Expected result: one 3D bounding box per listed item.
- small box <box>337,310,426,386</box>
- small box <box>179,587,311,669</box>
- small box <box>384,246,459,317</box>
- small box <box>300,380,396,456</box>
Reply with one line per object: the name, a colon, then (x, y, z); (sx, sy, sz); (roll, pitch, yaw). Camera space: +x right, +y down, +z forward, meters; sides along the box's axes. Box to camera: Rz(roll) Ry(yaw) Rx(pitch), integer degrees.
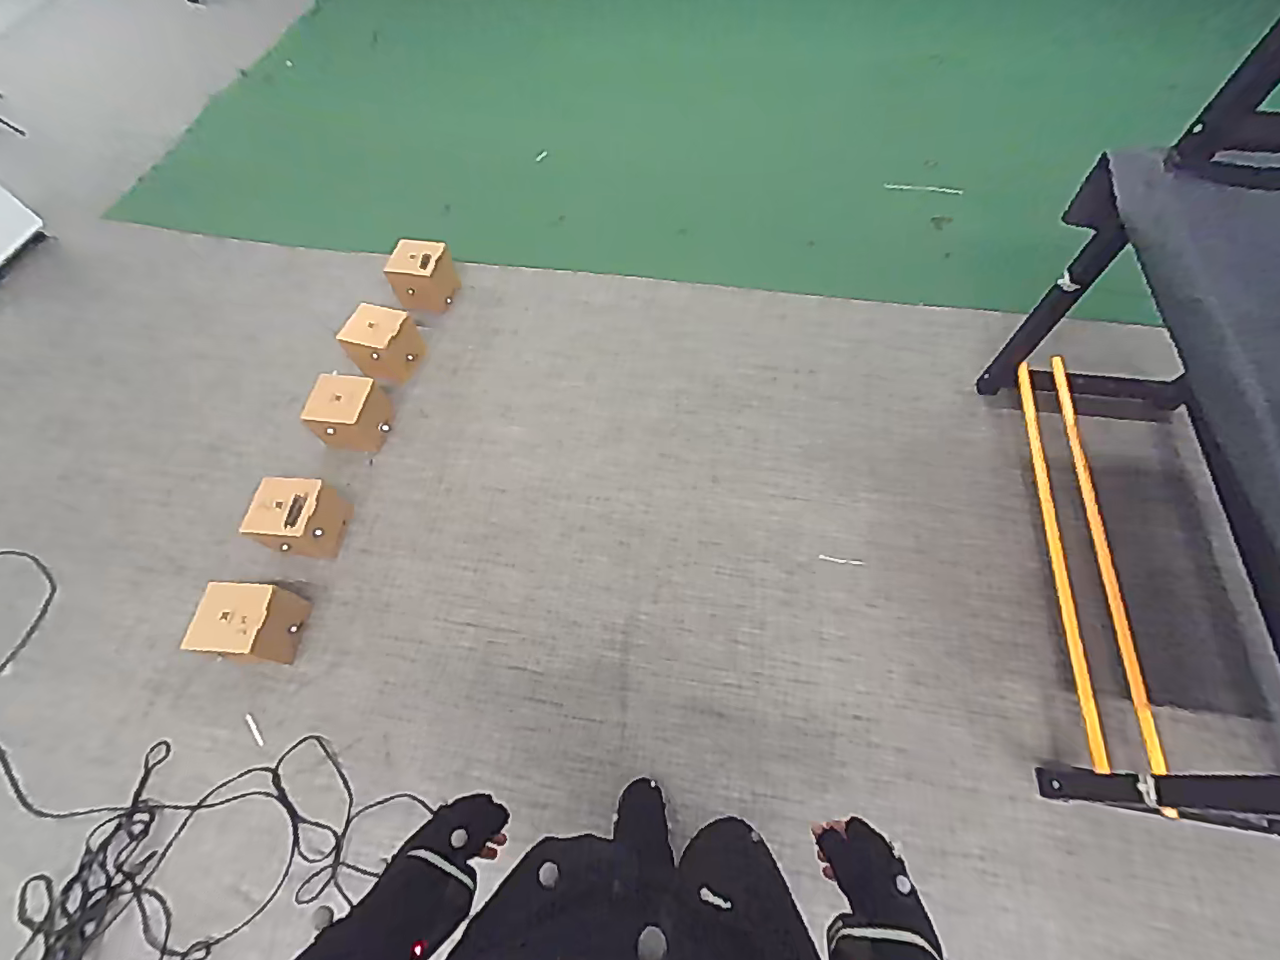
small box: (-0.852, -0.436, 1.801); (0.179, 0.176, 0.168); (14, 63, 9)
small box: (-0.982, 0.377, 1.362); (0.179, 0.176, 0.168); (3, 63, 3)
small box: (-0.777, -0.710, 1.948); (0.179, 0.176, 0.168); (9, 62, 8)
small box: (-0.890, -0.187, 1.666); (0.179, 0.176, 0.168); (6, 64, 3)
